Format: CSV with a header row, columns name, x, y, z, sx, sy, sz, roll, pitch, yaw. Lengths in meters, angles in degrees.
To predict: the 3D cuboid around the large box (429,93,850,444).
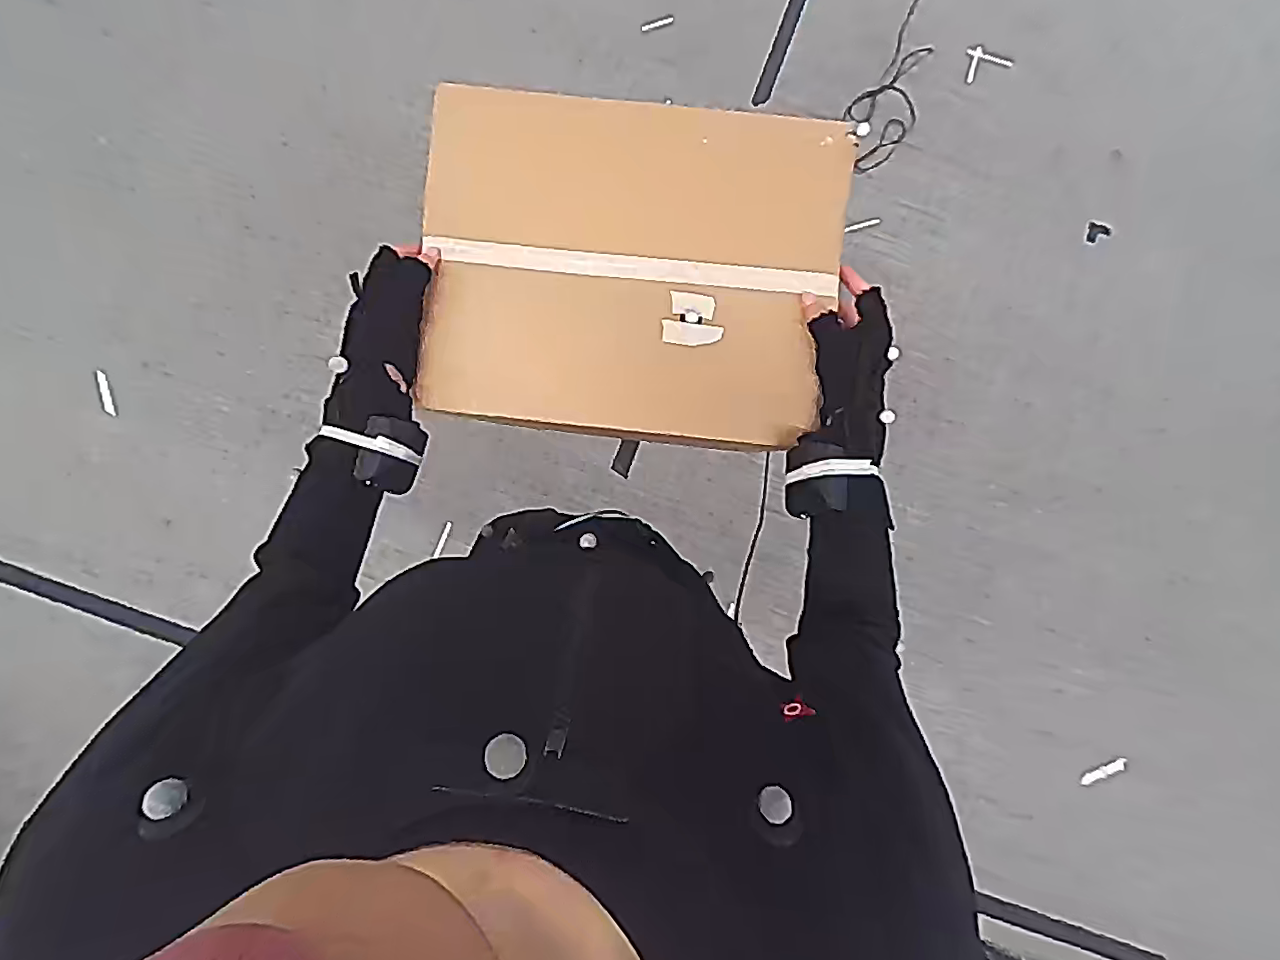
name,x,y,z,sx,sy,sz,roll,pitch,yaw
large box,-0.004,-0.221,0.690,0.408,0.320,0.320,7,94,1
